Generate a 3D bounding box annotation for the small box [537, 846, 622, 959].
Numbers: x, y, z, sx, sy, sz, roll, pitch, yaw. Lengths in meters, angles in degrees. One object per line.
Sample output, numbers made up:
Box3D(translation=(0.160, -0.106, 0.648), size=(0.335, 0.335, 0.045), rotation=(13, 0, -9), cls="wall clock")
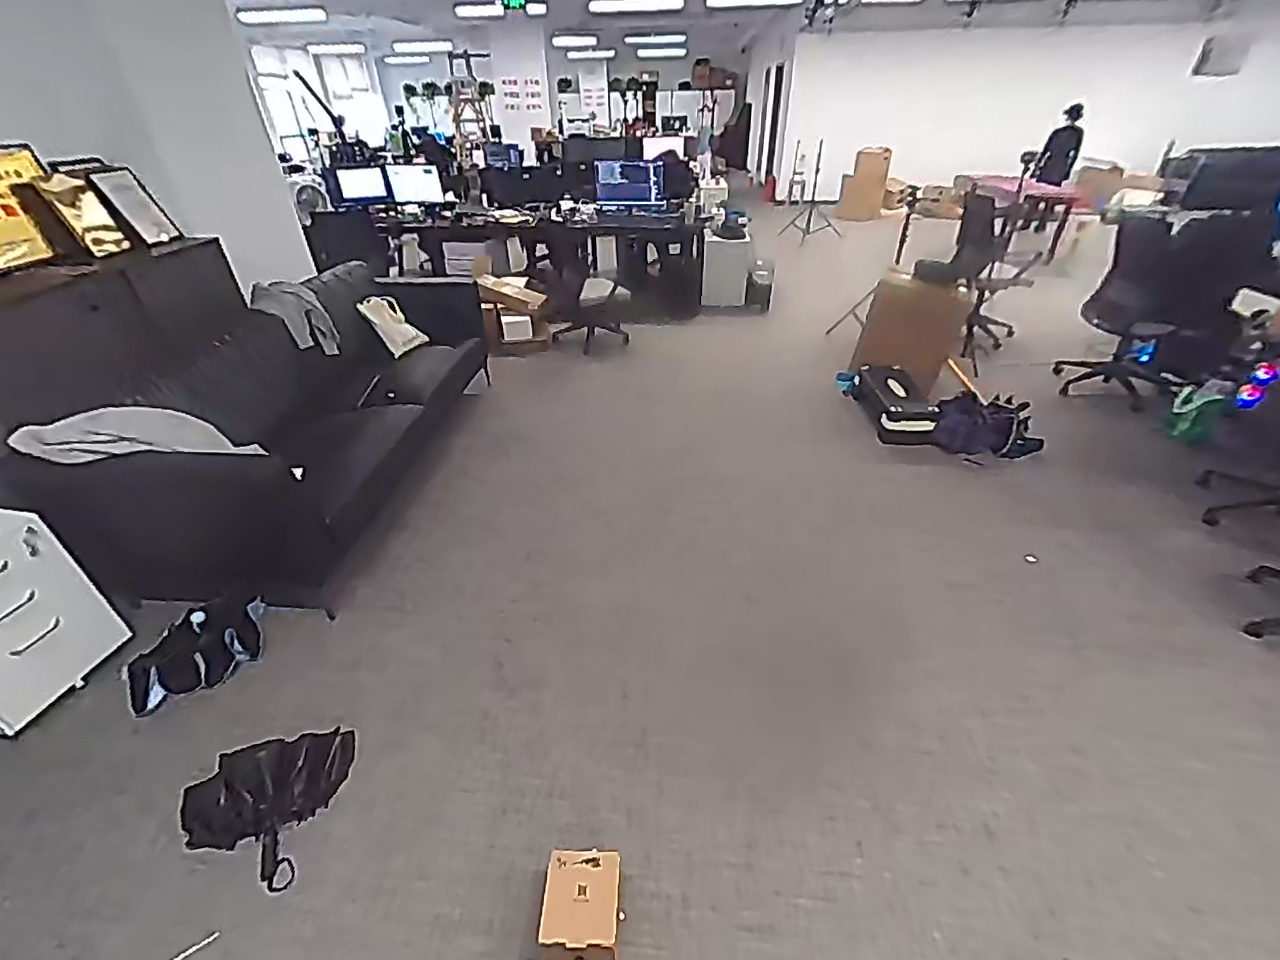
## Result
Box3D(translation=(-0.130, 0.975, 1.245), size=(0.168, 0.176, 0.179), rotation=(0, 37, 2), cls="small box")
